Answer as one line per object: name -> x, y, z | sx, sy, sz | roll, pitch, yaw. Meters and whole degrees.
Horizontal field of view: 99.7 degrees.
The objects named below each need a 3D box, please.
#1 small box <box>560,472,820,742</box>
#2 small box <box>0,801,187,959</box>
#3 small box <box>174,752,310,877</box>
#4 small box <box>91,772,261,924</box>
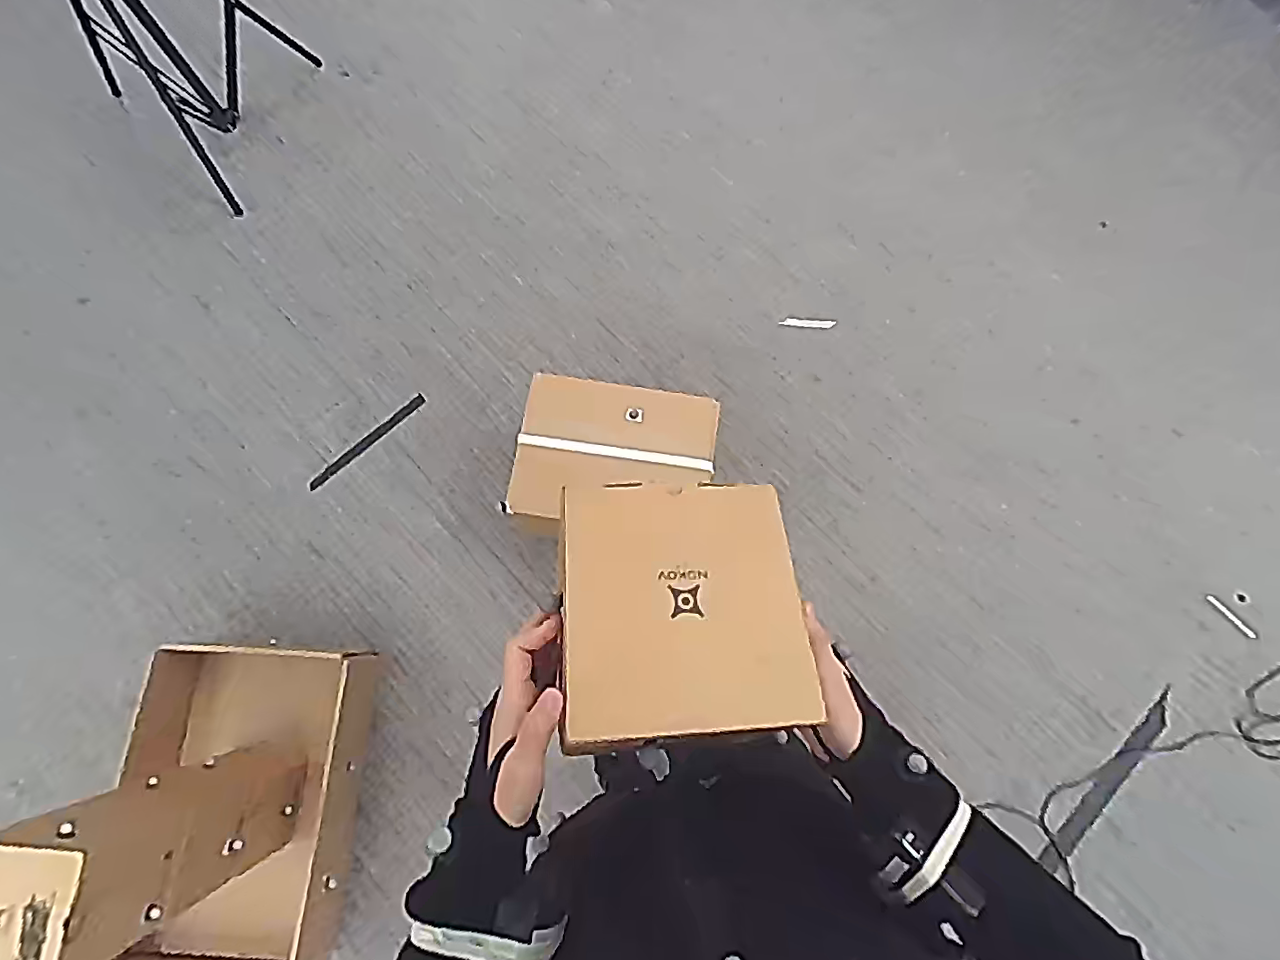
small box -> 0.019, 0.111, 0.444 | 0.168, 0.176, 0.179 | -1, 59, -10
small box -> -0.806, 0.576, 0.768 | 0.179, 0.176, 0.168 | 4, 76, 0
small box -> -0.810, 0.658, 1.084 | 0.179, 0.176, 0.168 | 7, 76, 0
small box -> -0.806, 0.616, 0.928 | 0.179, 0.176, 0.168 | 6, 76, -1
